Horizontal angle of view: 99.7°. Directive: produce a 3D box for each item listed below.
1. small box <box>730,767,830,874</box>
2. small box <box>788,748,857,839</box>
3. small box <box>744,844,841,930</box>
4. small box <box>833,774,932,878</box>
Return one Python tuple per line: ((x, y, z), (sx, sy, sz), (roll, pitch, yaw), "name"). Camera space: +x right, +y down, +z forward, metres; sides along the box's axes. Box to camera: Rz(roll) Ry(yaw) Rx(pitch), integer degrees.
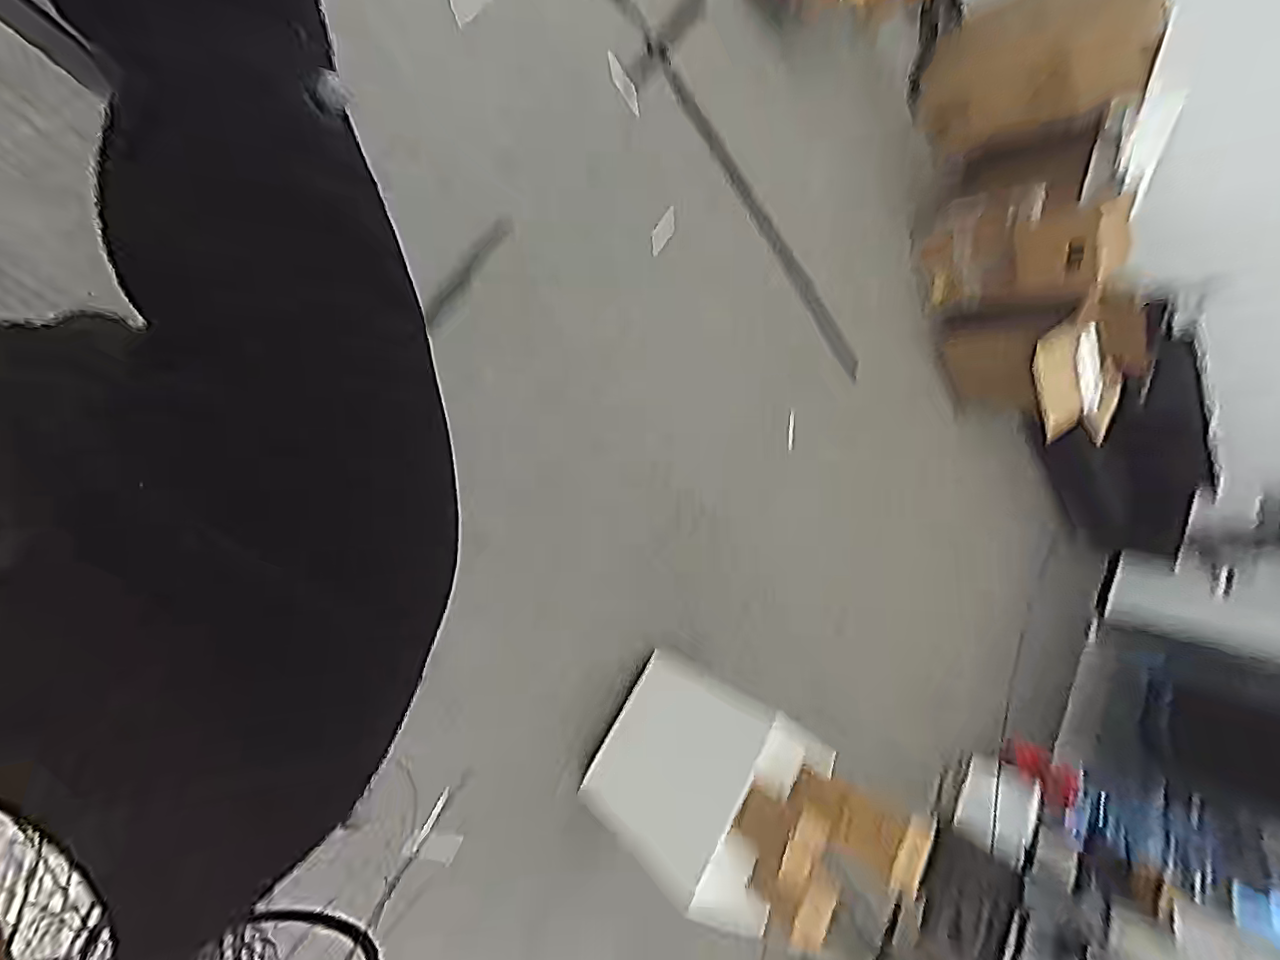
((0.376, 0.915, 1.467), (0.179, 0.176, 0.168), (46, 69, -32), "small box")
((0.561, 0.930, 1.609), (0.179, 0.176, 0.168), (44, 70, -33), "small box")
((0.432, 1.126, 1.539), (0.179, 0.176, 0.168), (43, 69, -31), "small box")
((0.661, 0.939, 1.481), (0.179, 0.176, 0.168), (41, 72, -33), "small box")
